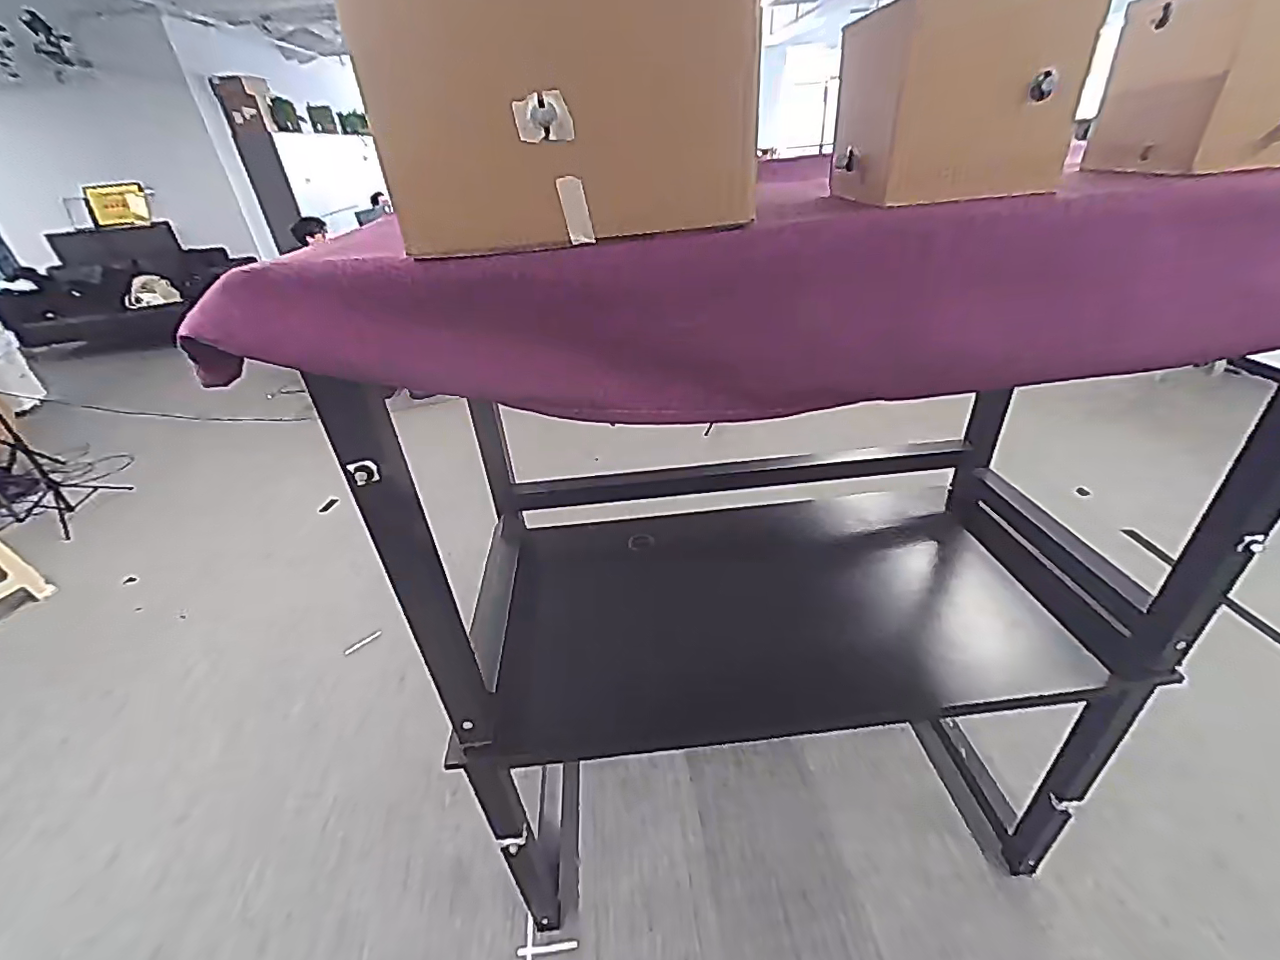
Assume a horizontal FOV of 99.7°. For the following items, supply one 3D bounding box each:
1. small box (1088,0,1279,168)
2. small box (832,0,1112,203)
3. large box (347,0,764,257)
[{"bbox_3d":[0.635,-0.435,0.568,0.179,0.176,0.168,-4,31,3],"label":"small box"},{"bbox_3d":[0.315,-0.392,0.555,0.179,0.176,0.168,-6,31,1],"label":"small box"},{"bbox_3d":[-0.082,-0.435,0.559,0.320,0.320,0.408,-7,31,-4],"label":"large box"}]
